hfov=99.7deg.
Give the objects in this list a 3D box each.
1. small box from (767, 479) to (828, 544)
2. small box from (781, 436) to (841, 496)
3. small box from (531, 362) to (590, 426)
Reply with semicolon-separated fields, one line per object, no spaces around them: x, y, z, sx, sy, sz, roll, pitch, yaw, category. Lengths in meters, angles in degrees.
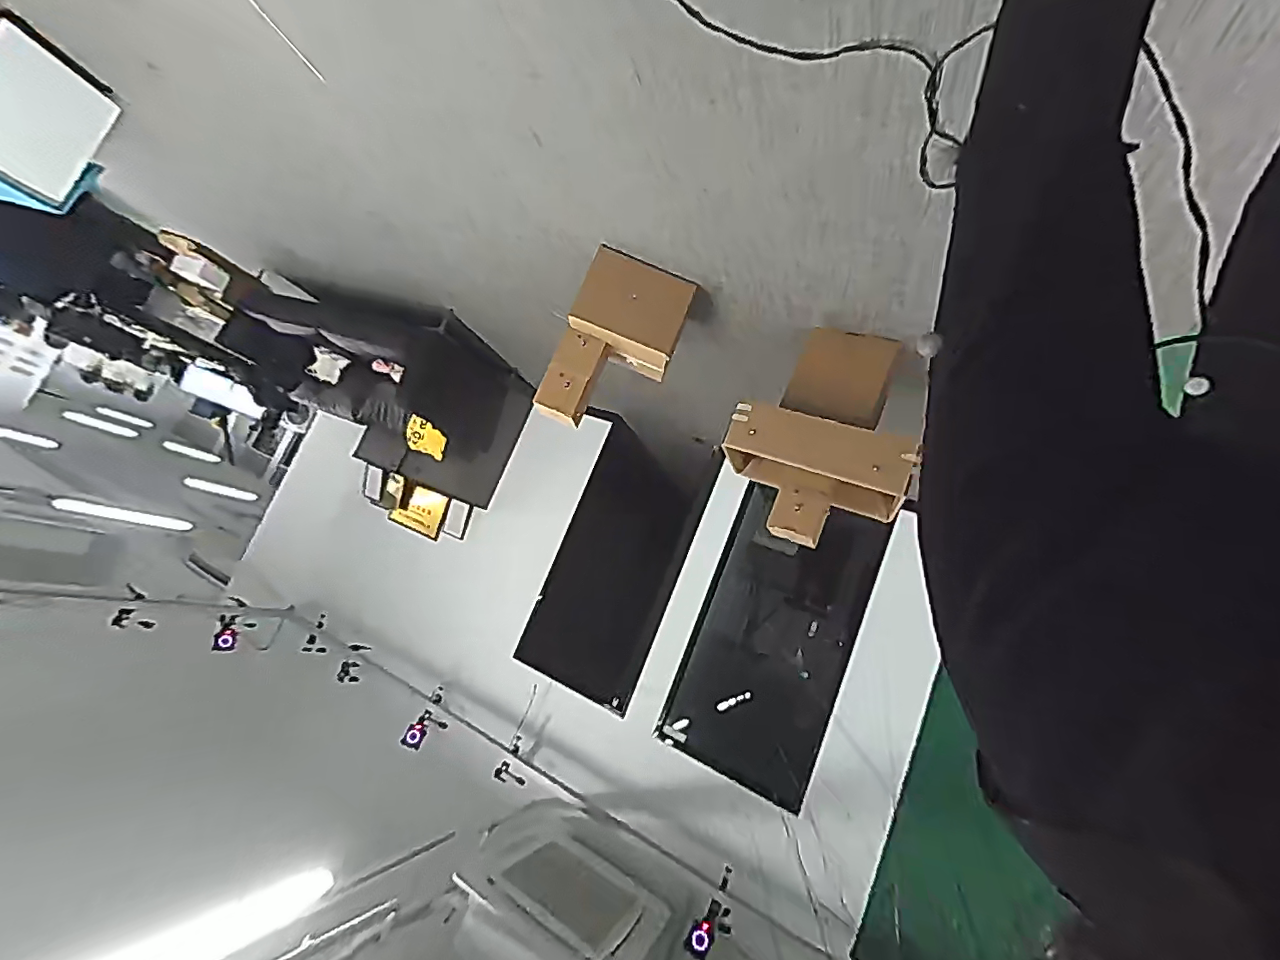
0.572;0.111;1.951;0.168;0.176;0.179;18;169;26;small box
0.630;-0.040;1.980;0.168;0.176;0.179;18;169;23;small box
-0.307;-0.338;2.128;0.168;0.176;0.179;22;171;4;small box
